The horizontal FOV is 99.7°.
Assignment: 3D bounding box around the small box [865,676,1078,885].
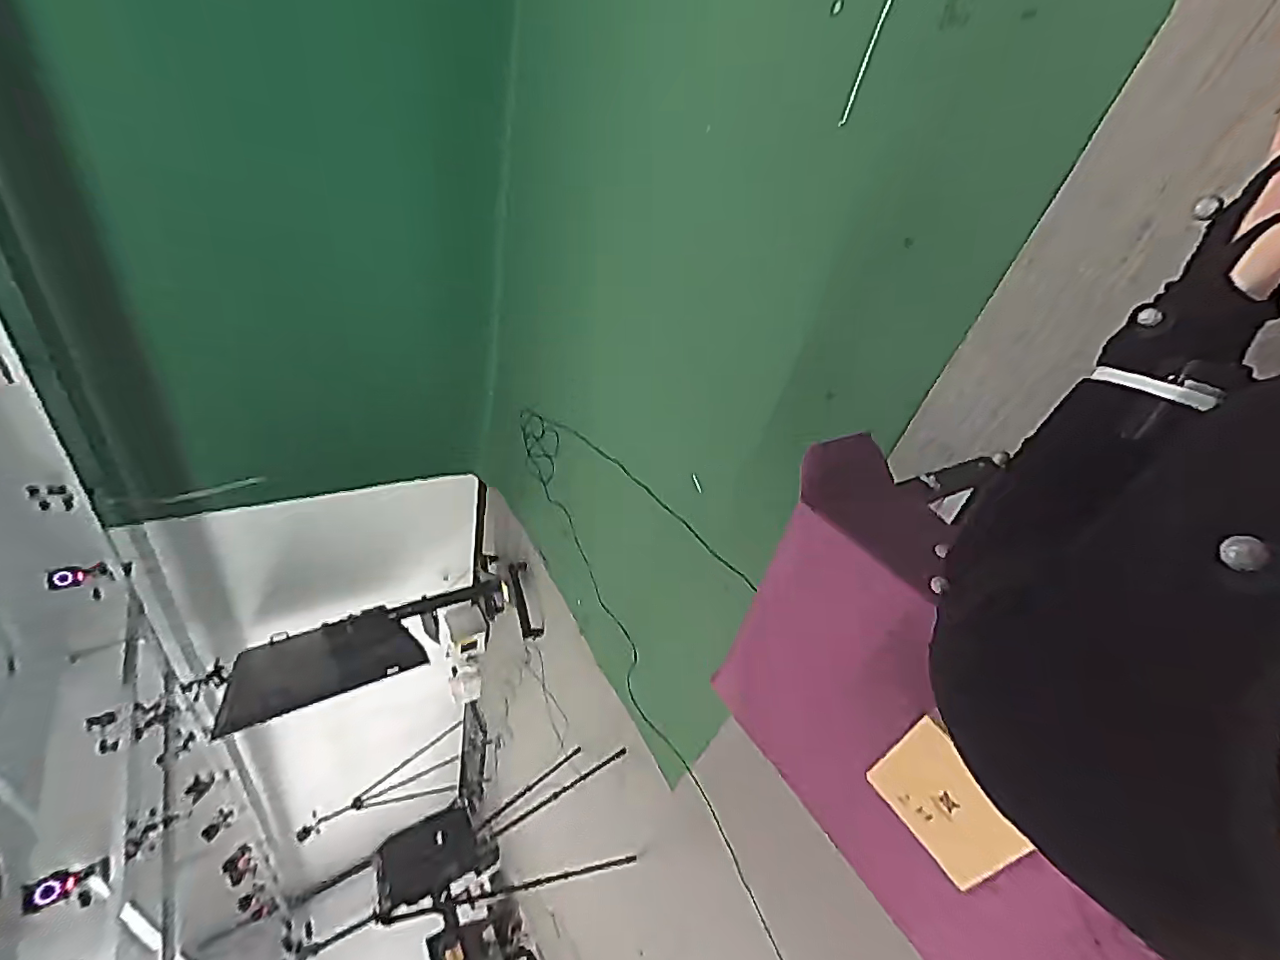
[{"bbox_3d":[0.464,0.409,0.759,0.168,0.176,0.179,49,137,37],"label":"small box"}]
